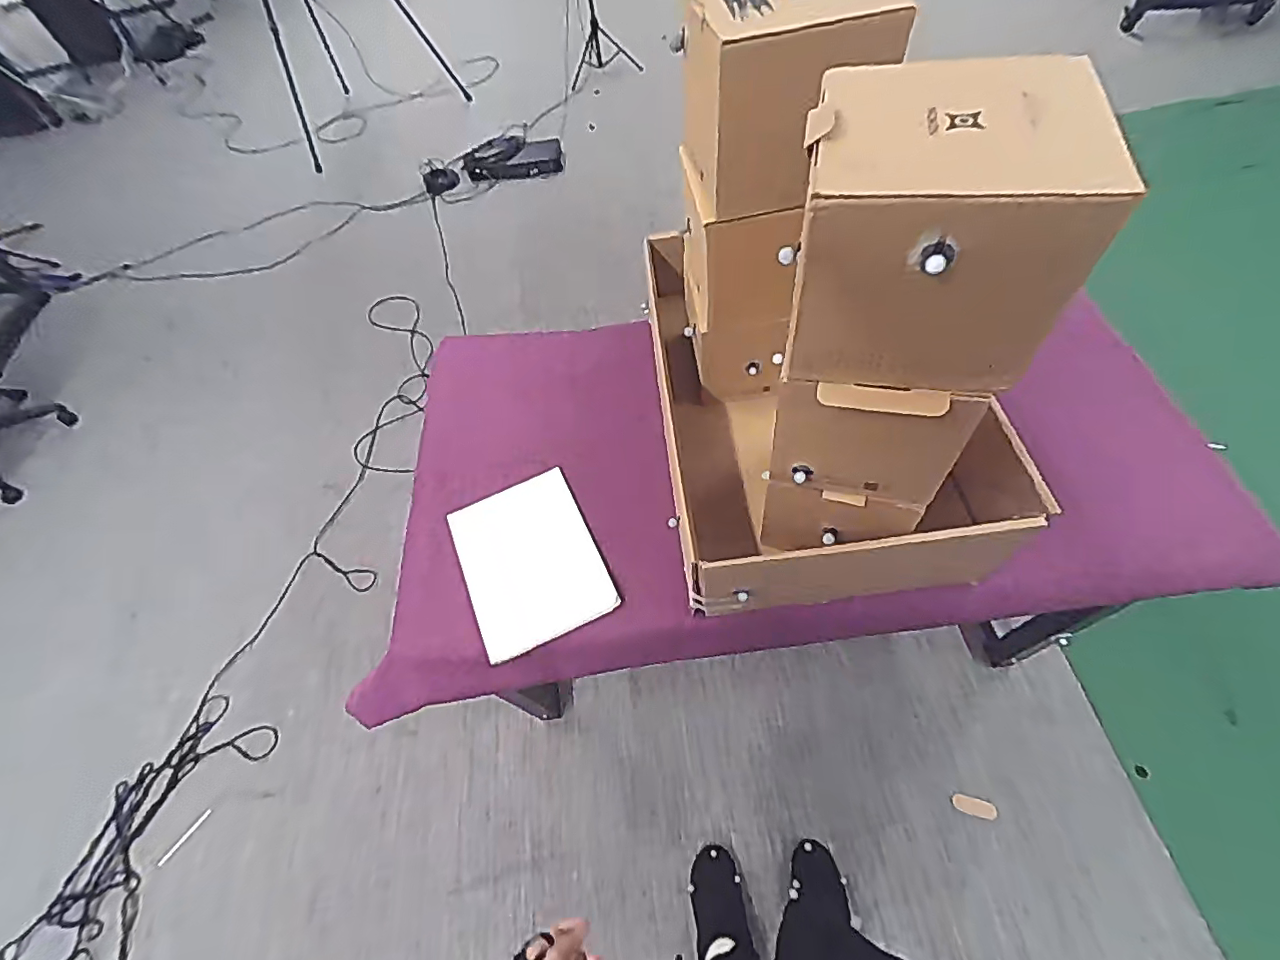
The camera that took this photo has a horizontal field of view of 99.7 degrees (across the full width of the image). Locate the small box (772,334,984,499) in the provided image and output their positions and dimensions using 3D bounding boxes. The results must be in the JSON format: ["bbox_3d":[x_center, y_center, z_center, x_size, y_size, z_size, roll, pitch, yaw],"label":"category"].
[{"bbox_3d":[0.231,-0.100,0.555,0.168,0.176,0.179,9,59,15],"label":"small box"}]

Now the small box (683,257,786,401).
[{"bbox_3d":[0.164,-0.240,0.852,0.168,0.176,0.179,-8,59,3],"label":"small box"}]

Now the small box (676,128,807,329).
[{"bbox_3d":[0.151,-0.321,0.713,0.179,0.176,0.168,-10,59,1],"label":"small box"}]

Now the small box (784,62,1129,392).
[{"bbox_3d":[0.211,-0.185,0.418,0.179,0.176,0.168,7,59,14],"label":"small box"}]
